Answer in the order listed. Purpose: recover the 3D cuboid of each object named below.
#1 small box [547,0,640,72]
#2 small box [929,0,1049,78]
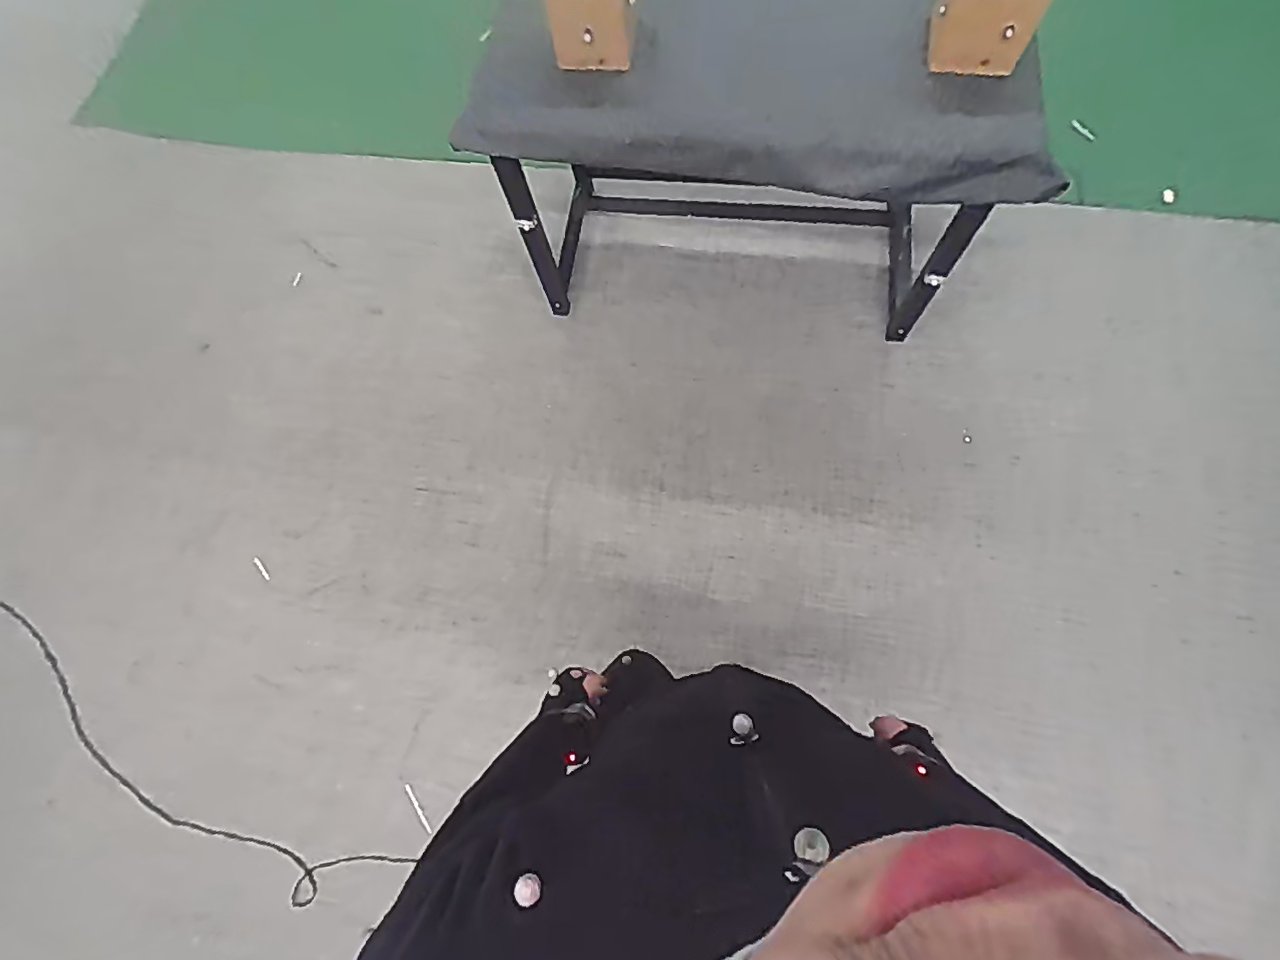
[{"bbox_3d":[-0.094,-1.039,1.190,0.168,0.176,0.179,6,73,6],"label":"small box"},{"bbox_3d":[0.703,-0.954,1.088,0.168,0.176,0.179,10,73,7],"label":"small box"}]
